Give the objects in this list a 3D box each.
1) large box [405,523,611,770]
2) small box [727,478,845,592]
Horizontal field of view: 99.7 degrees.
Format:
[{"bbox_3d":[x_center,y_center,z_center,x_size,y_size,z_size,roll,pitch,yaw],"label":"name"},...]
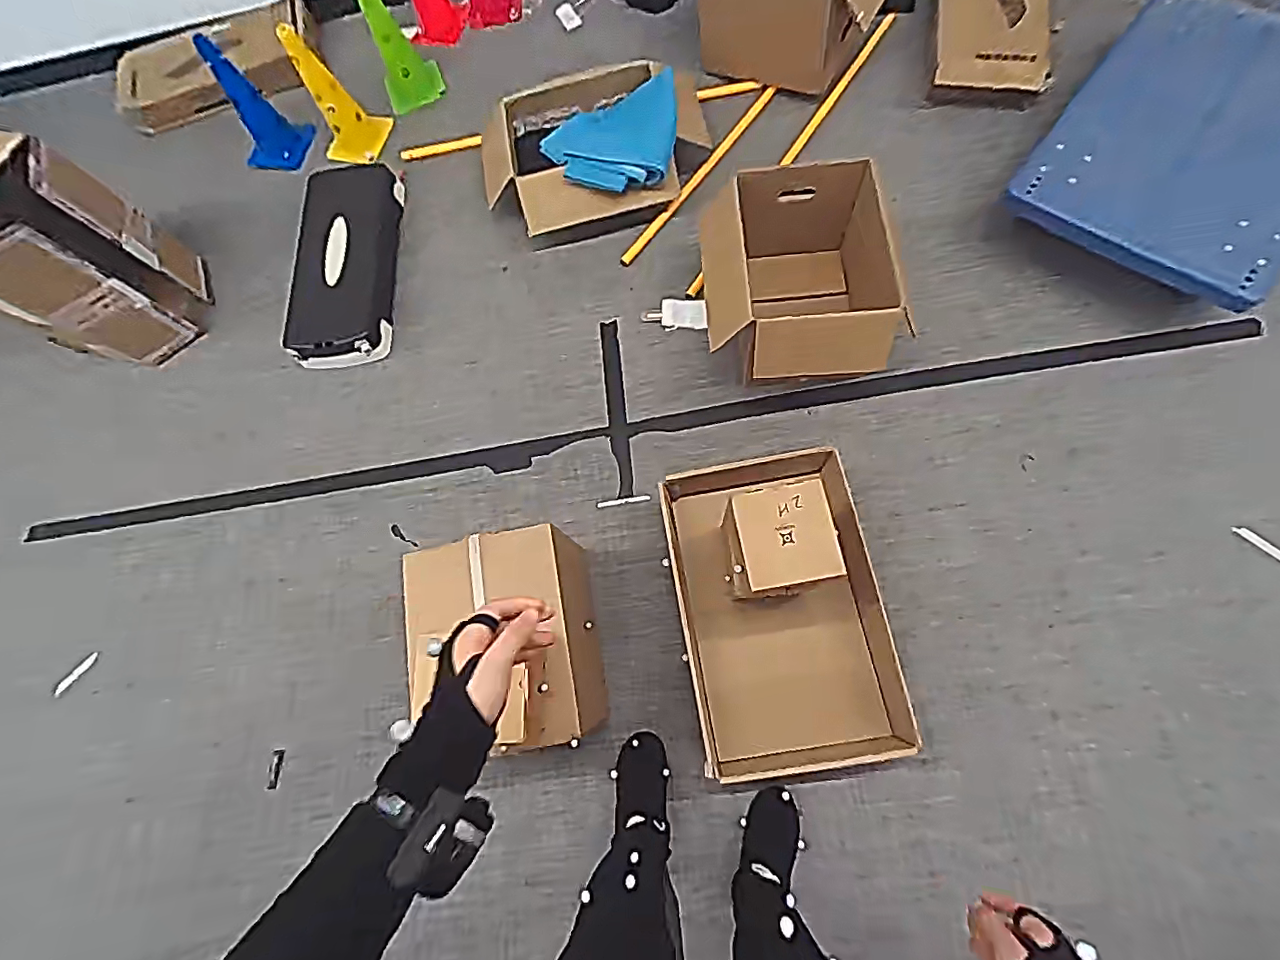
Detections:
[{"bbox_3d":[-0.266,0.342,1.160,0.320,0.320,0.408,-13,73,4],"label":"large box"},{"bbox_3d":[0.263,0.111,1.013,0.168,0.176,0.179,-11,74,2],"label":"small box"}]
